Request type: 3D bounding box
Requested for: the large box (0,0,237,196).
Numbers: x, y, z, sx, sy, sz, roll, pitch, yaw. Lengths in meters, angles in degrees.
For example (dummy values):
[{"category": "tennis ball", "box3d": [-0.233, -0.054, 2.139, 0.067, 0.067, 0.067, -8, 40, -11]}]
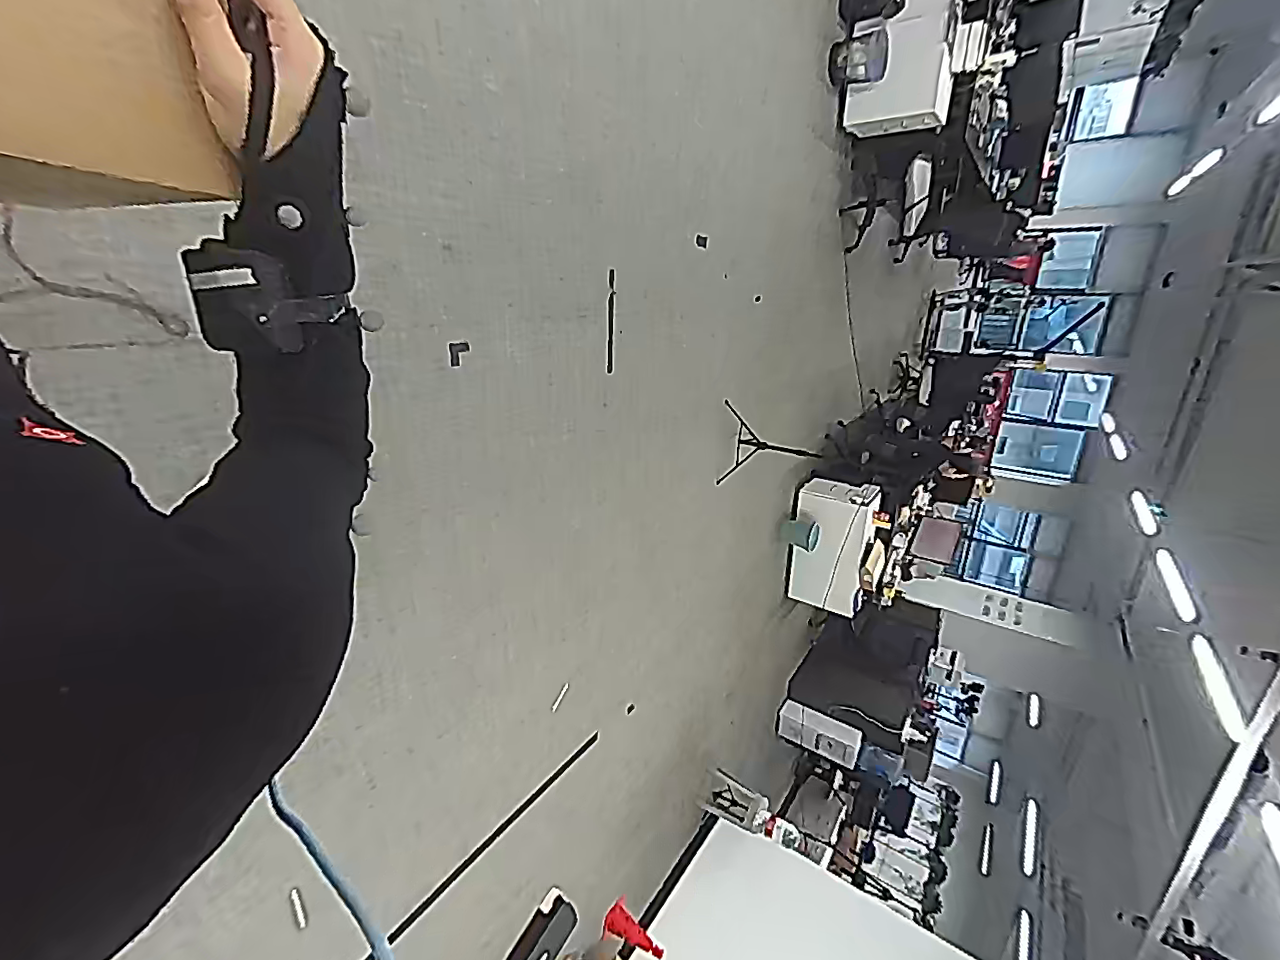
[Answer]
[{"category": "large box", "box3d": [-0.457, -0.306, 0.181, 0.408, 0.320, 0.320, -24, 124, -57]}]
